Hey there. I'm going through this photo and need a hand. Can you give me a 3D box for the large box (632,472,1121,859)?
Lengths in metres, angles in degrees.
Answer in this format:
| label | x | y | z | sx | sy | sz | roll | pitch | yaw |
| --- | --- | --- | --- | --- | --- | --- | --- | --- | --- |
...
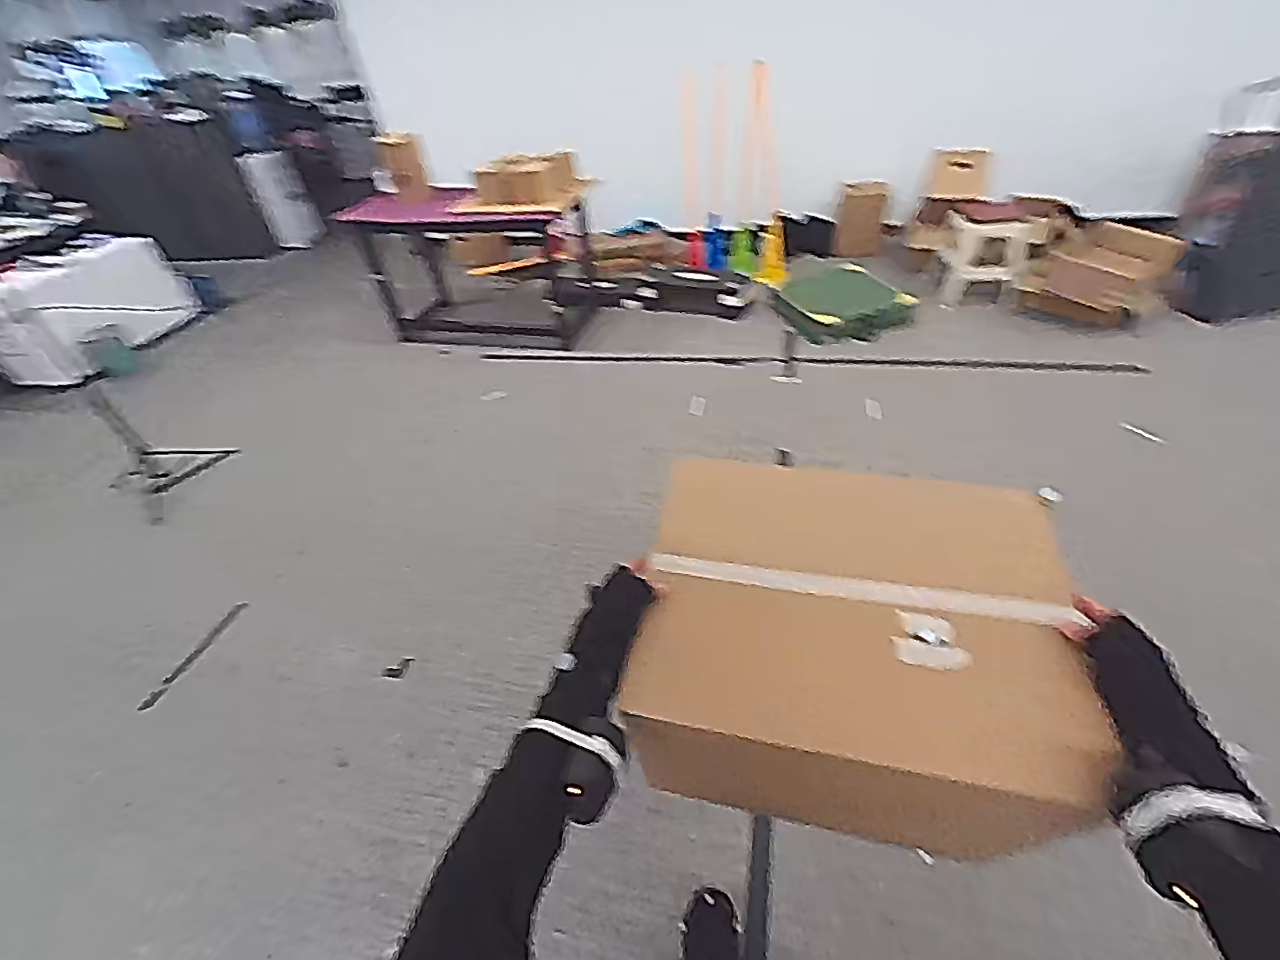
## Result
| label | x | y | z | sx | sy | sz | roll | pitch | yaw |
| --- | --- | --- | --- | --- | --- | --- | --- | --- | --- |
| large box | 0.224 | 0.220 | 0.662 | 0.408 | 0.320 | 0.320 | 7 | 51 | 12 |
